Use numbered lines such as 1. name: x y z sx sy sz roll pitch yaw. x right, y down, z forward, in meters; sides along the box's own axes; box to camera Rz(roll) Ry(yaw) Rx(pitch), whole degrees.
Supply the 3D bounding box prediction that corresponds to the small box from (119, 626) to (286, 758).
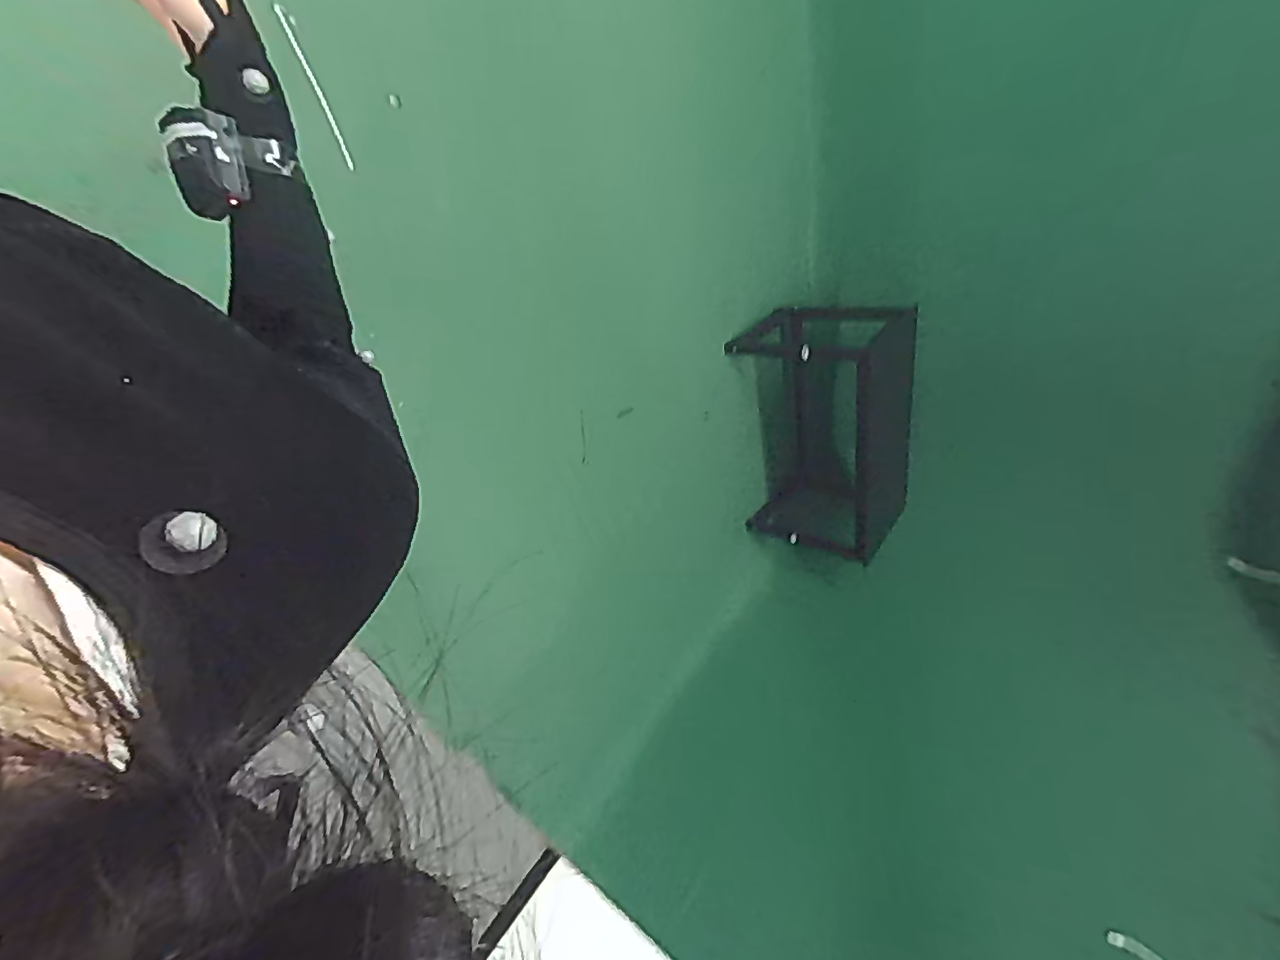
1. small box: -0.801 0.379 0.991 0.179 0.176 0.168 27 81 -51
